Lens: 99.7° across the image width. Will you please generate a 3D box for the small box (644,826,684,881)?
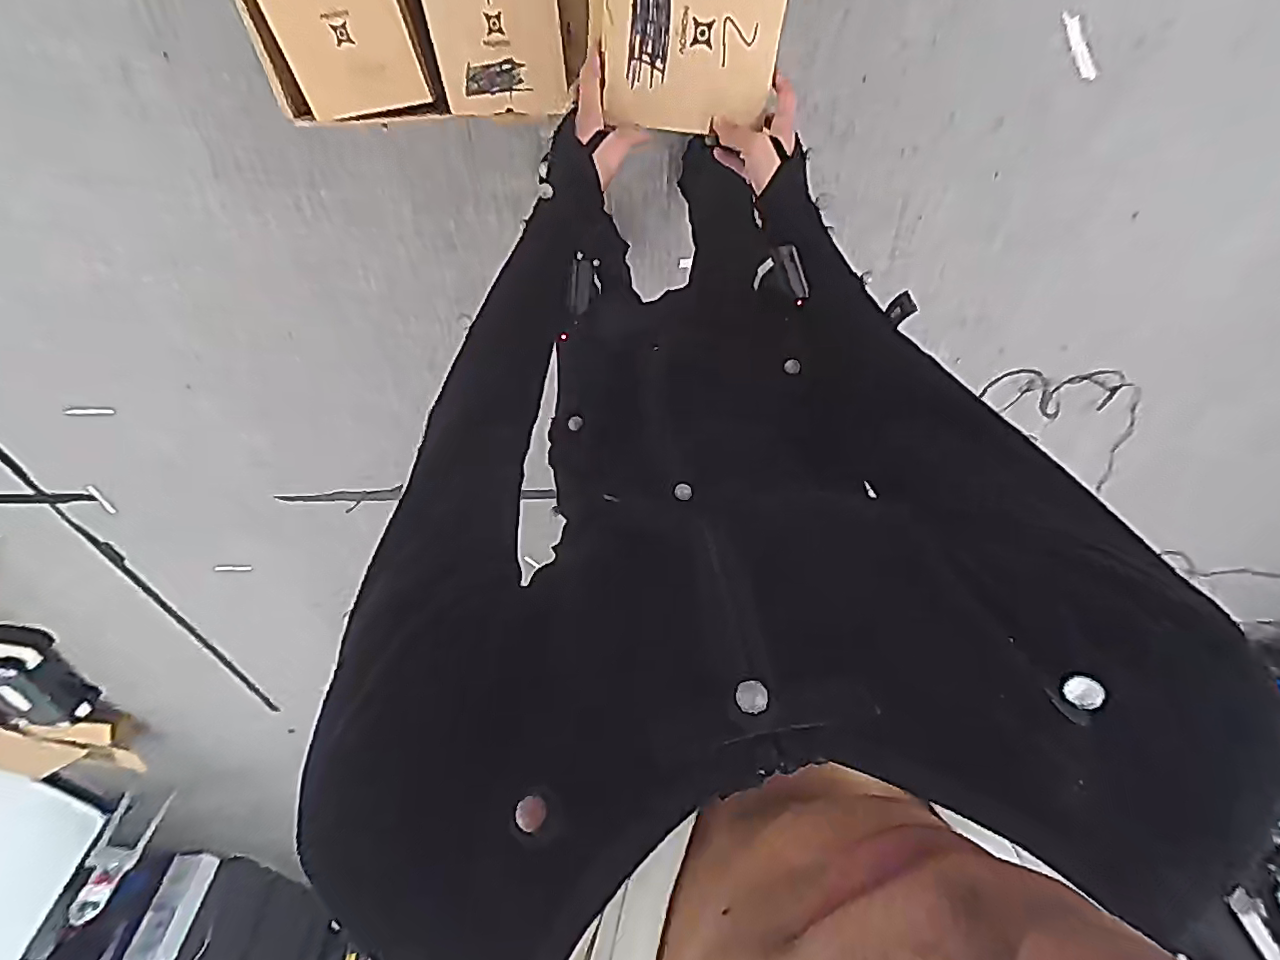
[{"bbox_3d":[0.102,1.642,2.375,0.168,0.176,0.179,1,133,-2],"label":"small box"}]
